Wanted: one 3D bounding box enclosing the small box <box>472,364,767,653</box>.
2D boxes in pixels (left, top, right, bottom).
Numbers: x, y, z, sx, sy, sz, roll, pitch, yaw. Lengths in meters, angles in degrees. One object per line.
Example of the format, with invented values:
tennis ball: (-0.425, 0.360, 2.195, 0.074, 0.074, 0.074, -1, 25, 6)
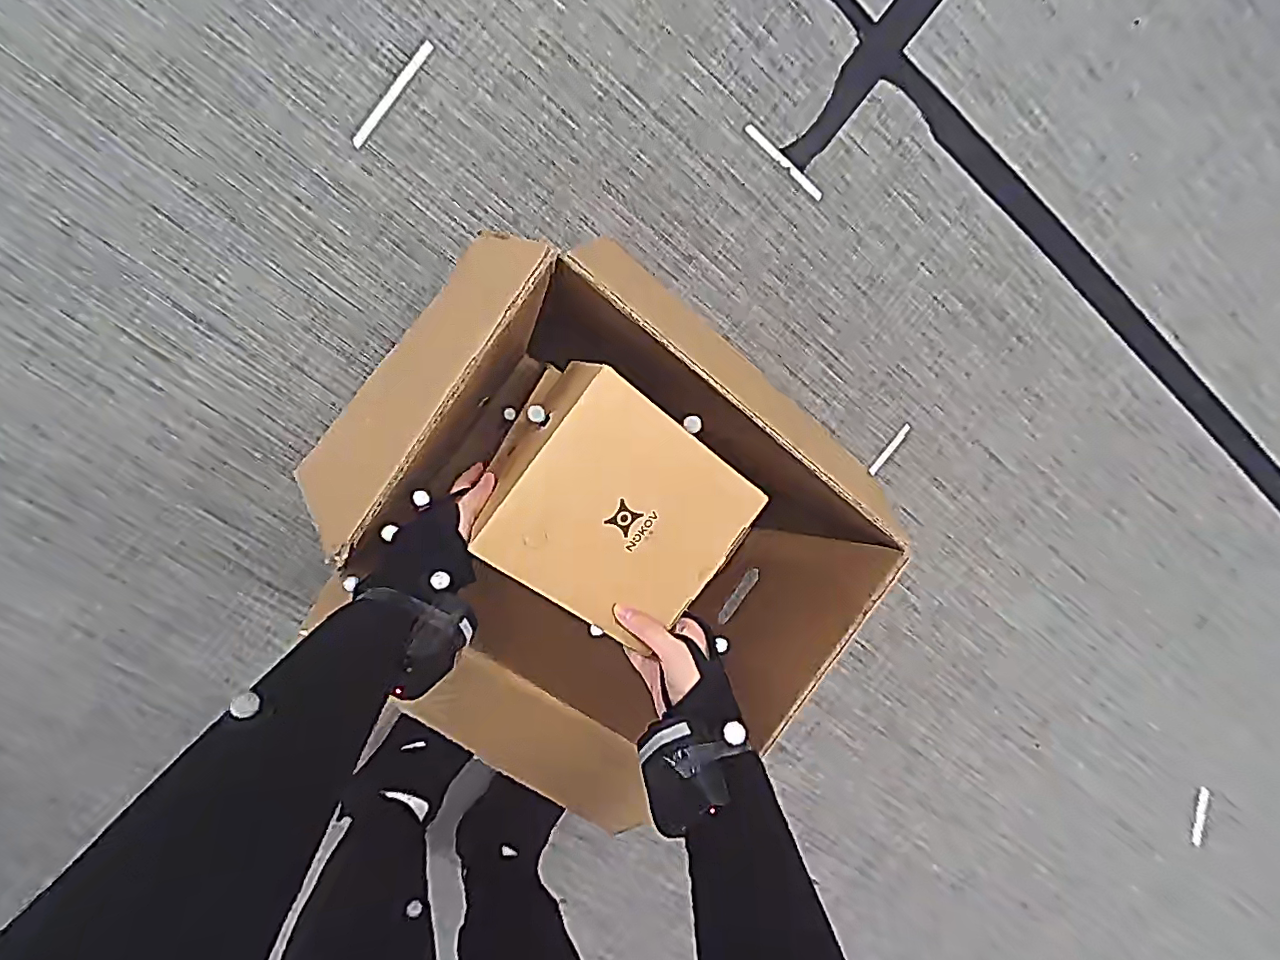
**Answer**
small box: (-0.030, 0.014, 0.486, 0.179, 0.176, 0.168, 37, 91, -21)
